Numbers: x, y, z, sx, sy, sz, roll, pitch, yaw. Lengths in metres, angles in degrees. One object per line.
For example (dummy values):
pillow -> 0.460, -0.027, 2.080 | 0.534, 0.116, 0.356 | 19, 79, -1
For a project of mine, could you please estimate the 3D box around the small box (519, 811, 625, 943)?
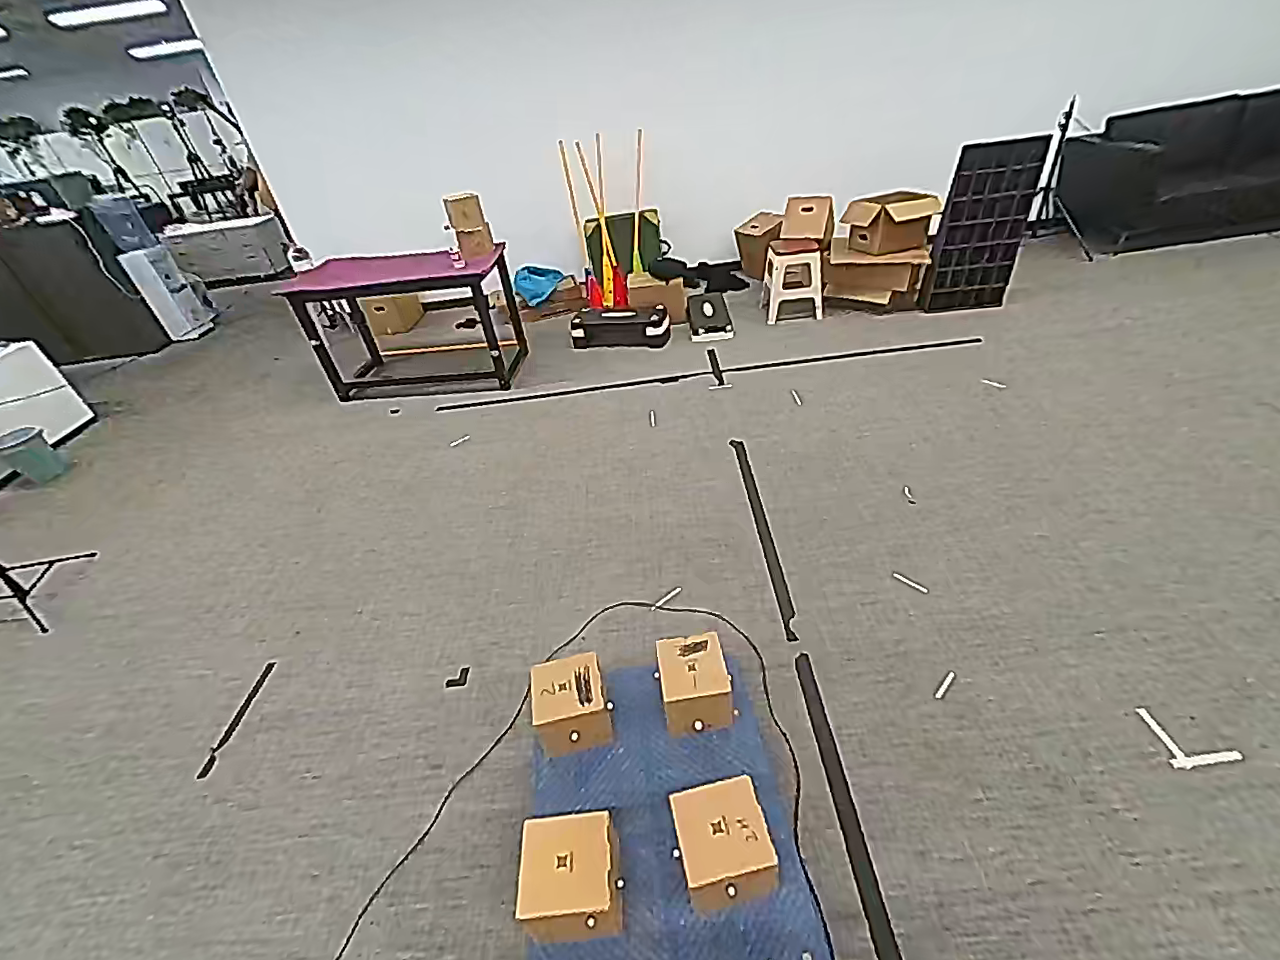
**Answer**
small box -> -0.131, 0.800, 1.088 | 0.179, 0.176, 0.168 | -7, 37, -1

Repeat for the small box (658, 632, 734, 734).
small box -> 0.141, 0.523, 1.394 | 0.168, 0.176, 0.179 | -9, 38, -1

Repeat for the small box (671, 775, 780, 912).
small box -> 0.173, 0.742, 1.103 | 0.179, 0.176, 0.168 | -12, 37, -5
